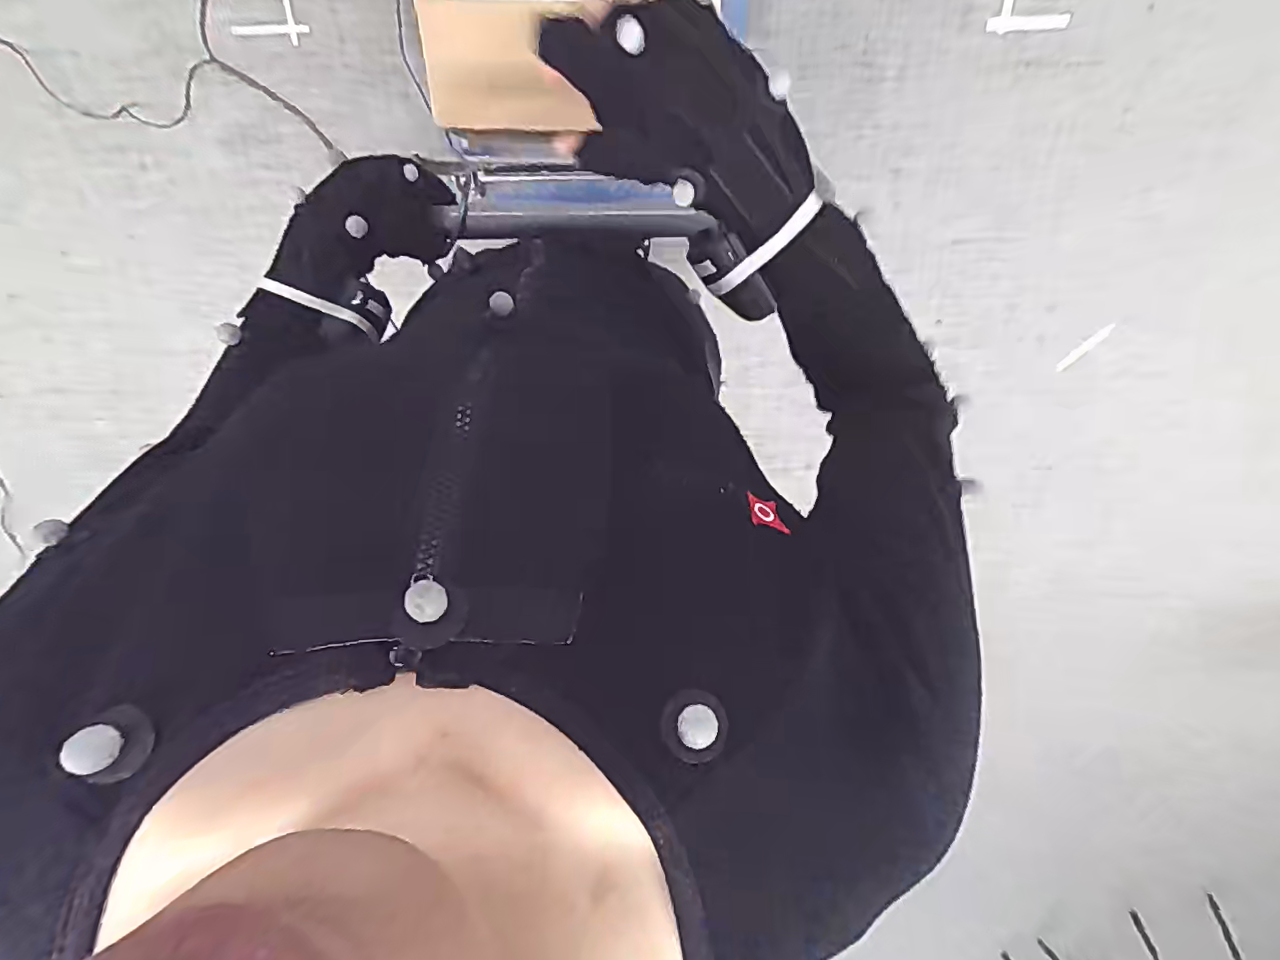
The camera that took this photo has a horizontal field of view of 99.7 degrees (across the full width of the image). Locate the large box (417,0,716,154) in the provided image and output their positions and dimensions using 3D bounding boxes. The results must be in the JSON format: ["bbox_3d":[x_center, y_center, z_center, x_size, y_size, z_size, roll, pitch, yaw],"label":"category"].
[{"bbox_3d":[-0.106,-0.704,0.845,0.408,0.320,0.320,-2,118,-4],"label":"large box"}]
